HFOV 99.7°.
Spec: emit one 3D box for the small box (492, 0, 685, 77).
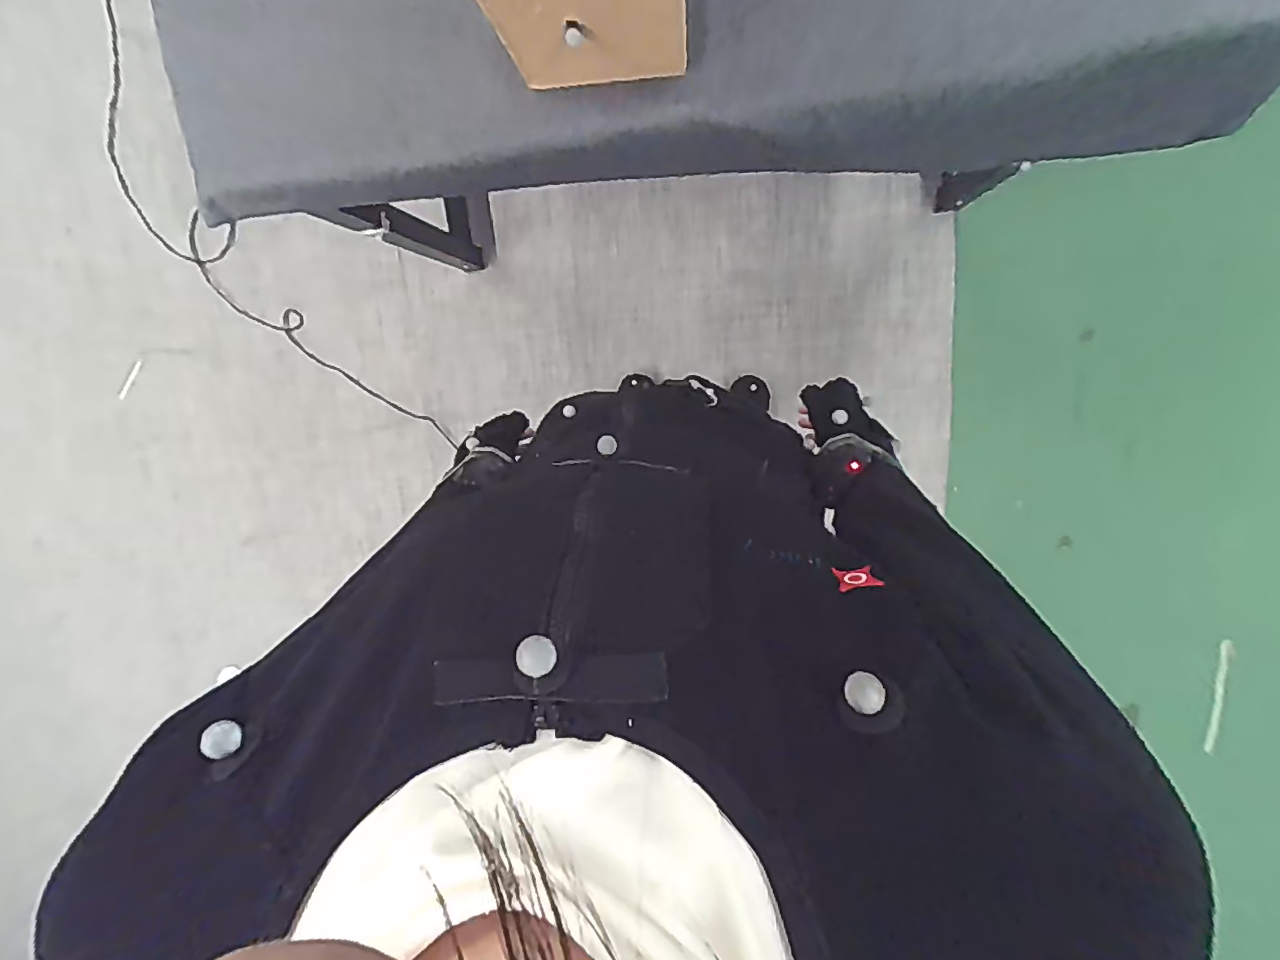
[{"bbox_3d":[-0.050,-0.507,0.499,0.179,0.176,0.168,0,102,7],"label":"small box"}]
